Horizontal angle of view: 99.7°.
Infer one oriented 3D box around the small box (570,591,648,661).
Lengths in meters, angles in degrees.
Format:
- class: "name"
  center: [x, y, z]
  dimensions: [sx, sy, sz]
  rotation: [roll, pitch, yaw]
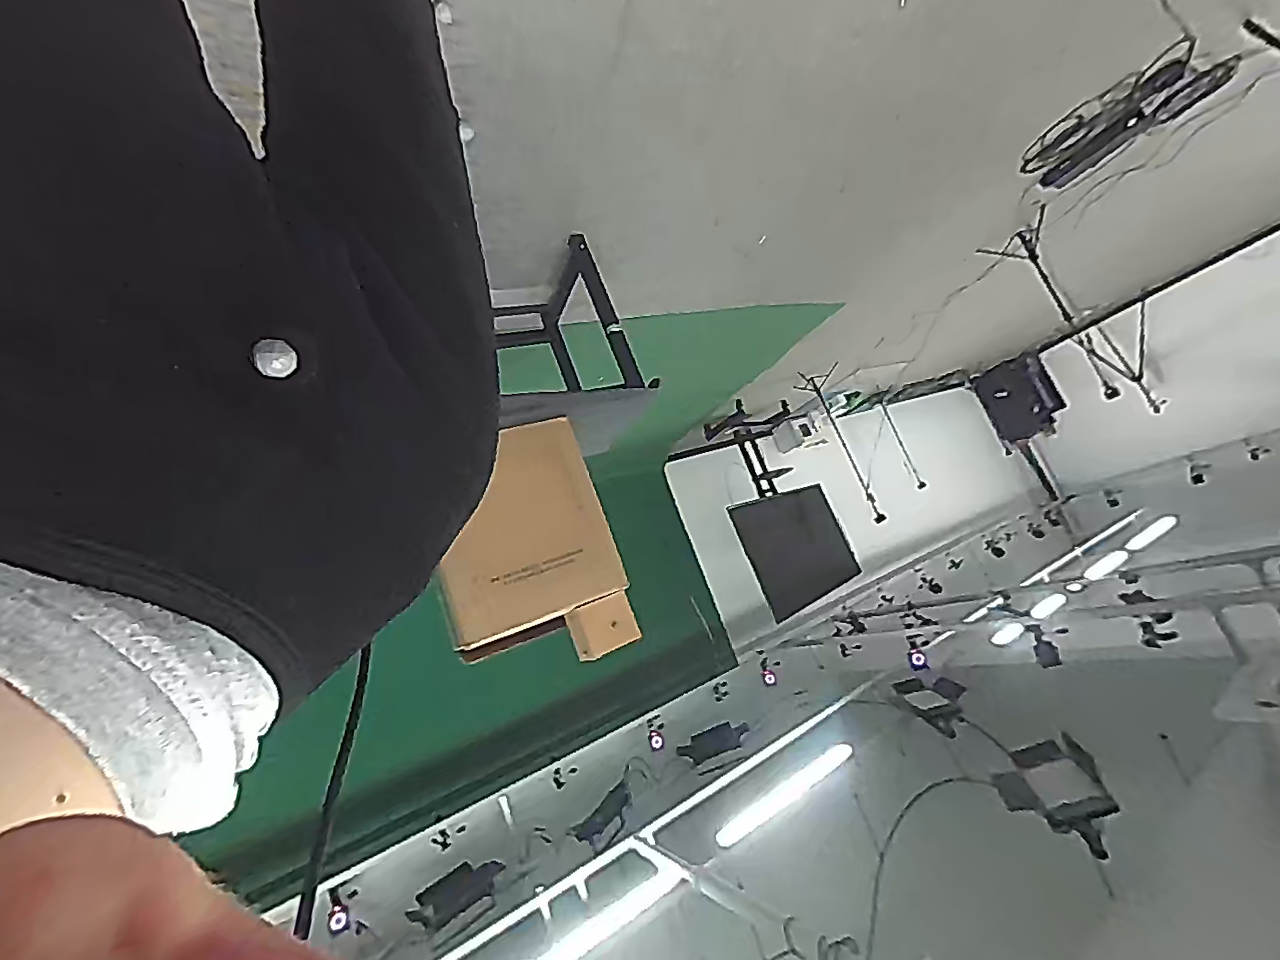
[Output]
- class: "small box"
  center: [-0.106, 0.482, 1.792]
  dimensions: [0.179, 0.176, 0.168]
  rotation: [-19, 167, -27]
